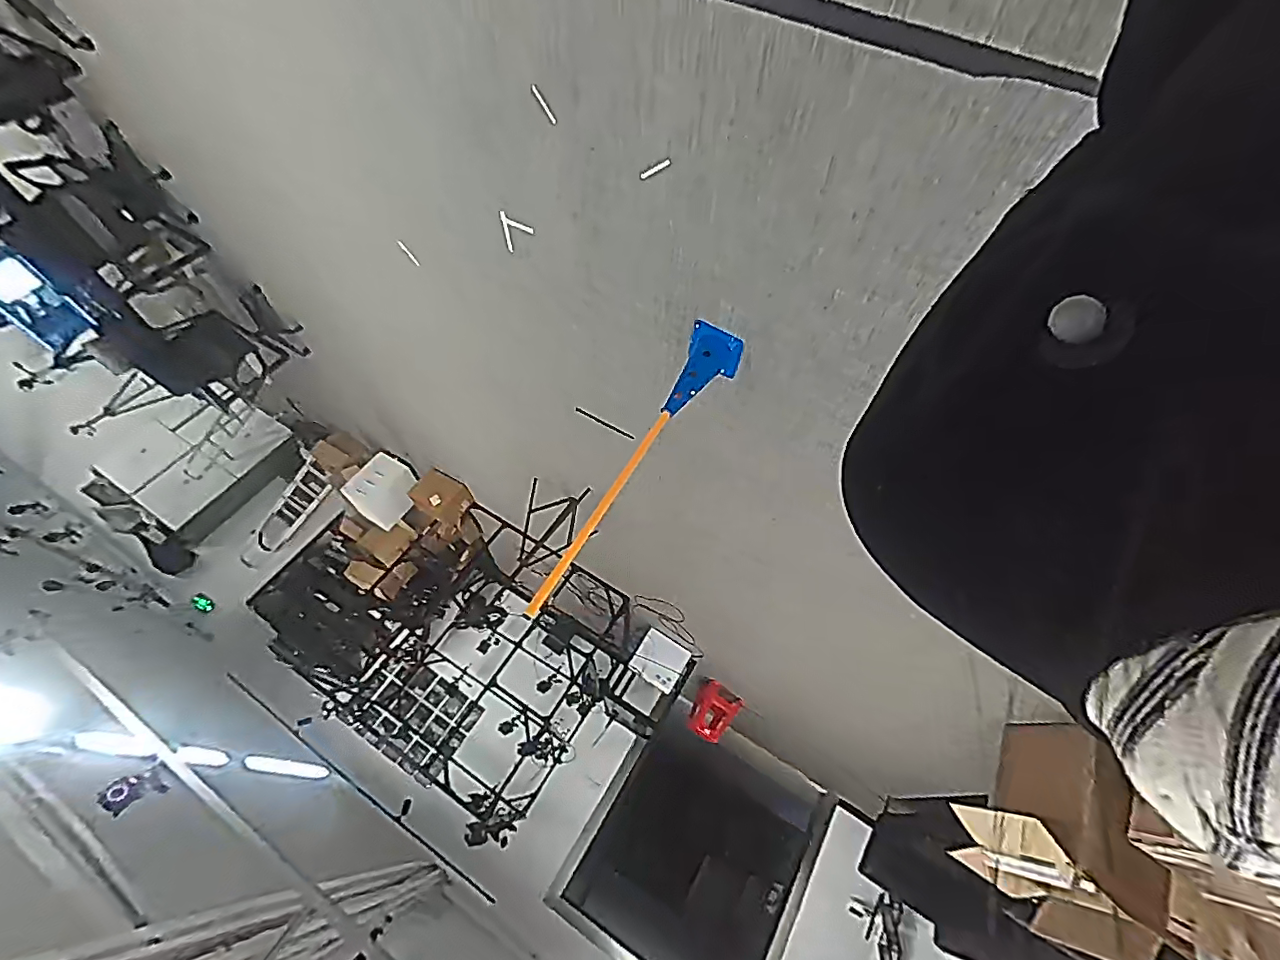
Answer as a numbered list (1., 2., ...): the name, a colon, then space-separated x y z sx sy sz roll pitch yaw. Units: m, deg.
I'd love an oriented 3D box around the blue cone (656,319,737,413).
1. blue cone: 0.175 -0.370 1.907 0.192 0.380 0.193 31 153 11
